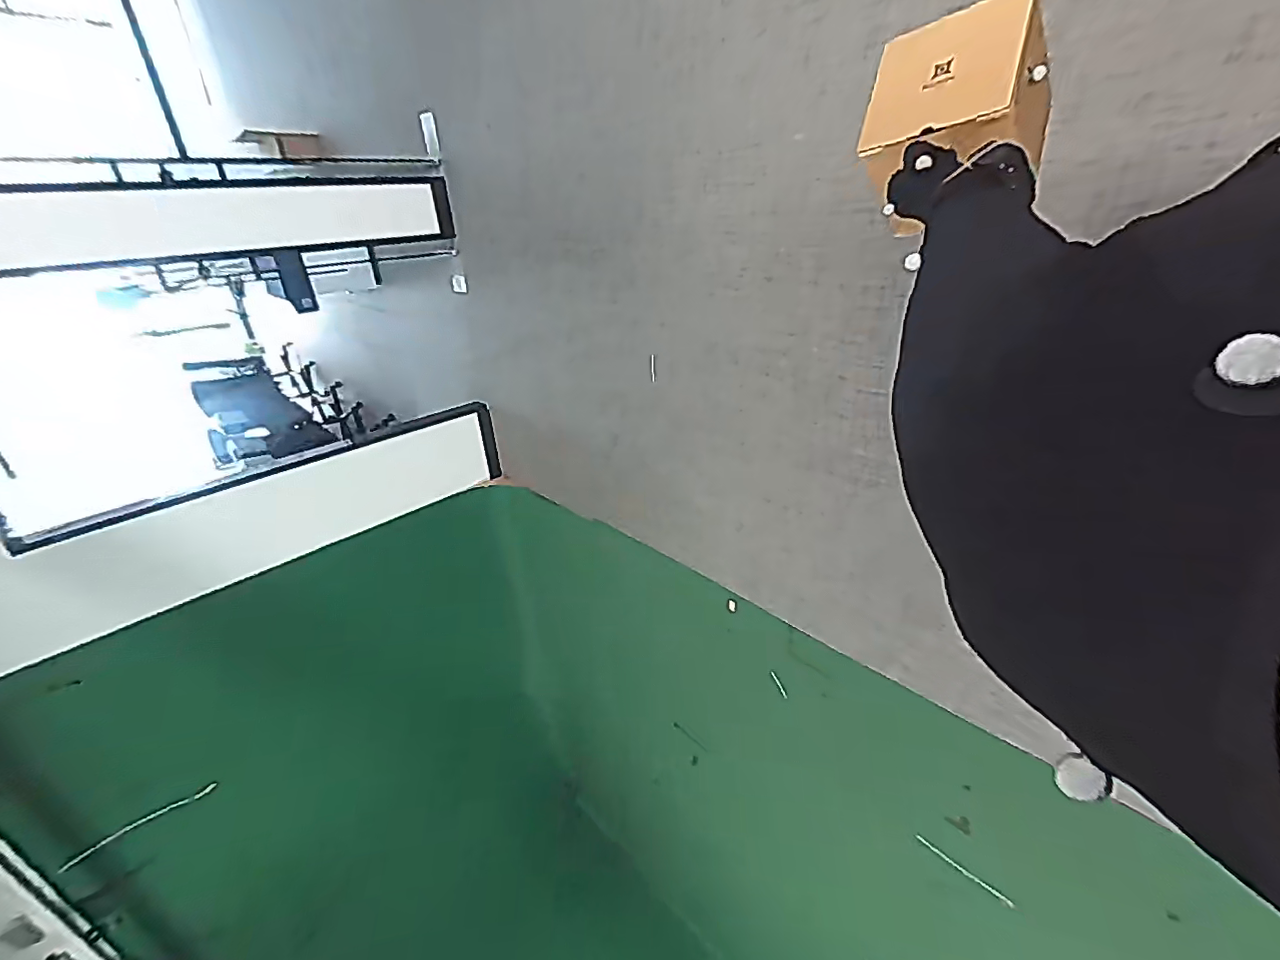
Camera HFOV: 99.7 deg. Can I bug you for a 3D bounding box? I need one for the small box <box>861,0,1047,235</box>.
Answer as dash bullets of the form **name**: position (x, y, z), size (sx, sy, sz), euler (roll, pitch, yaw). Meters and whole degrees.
- **small box**: position (0.416, -0.461, 0.708), size (0.168, 0.176, 0.179), euler (7, 76, 44)
